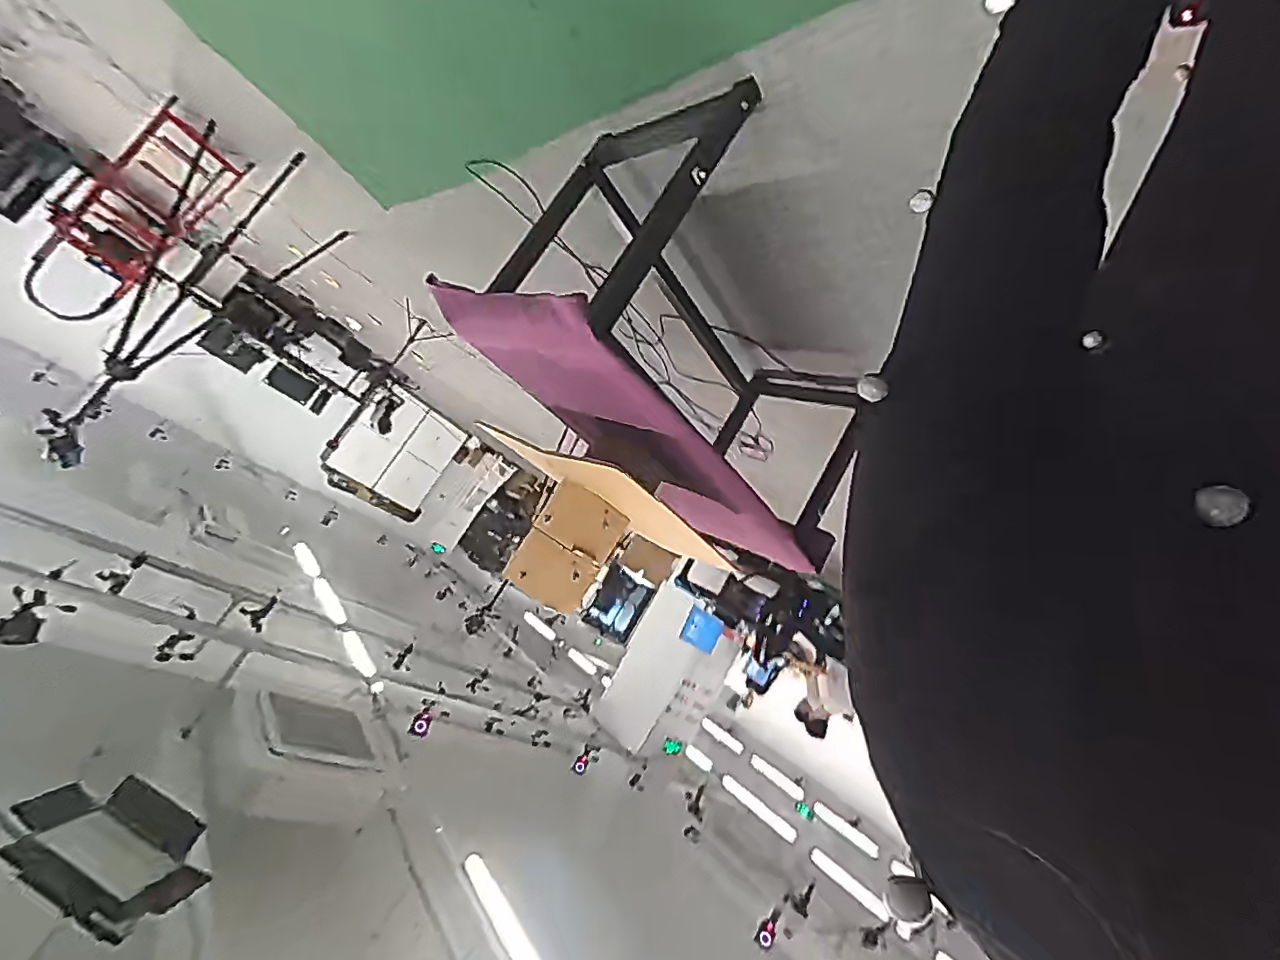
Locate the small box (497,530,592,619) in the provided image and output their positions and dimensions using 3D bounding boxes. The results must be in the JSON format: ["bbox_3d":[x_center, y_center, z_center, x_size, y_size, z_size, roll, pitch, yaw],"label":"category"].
[{"bbox_3d":[-0.268,0.263,1.544,0.179,0.176,0.168,22,165,46],"label":"small box"}]

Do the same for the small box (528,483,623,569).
[{"bbox_3d":[-0.183,0.127,1.571,0.179,0.176,0.168,22,167,44],"label":"small box"}]
